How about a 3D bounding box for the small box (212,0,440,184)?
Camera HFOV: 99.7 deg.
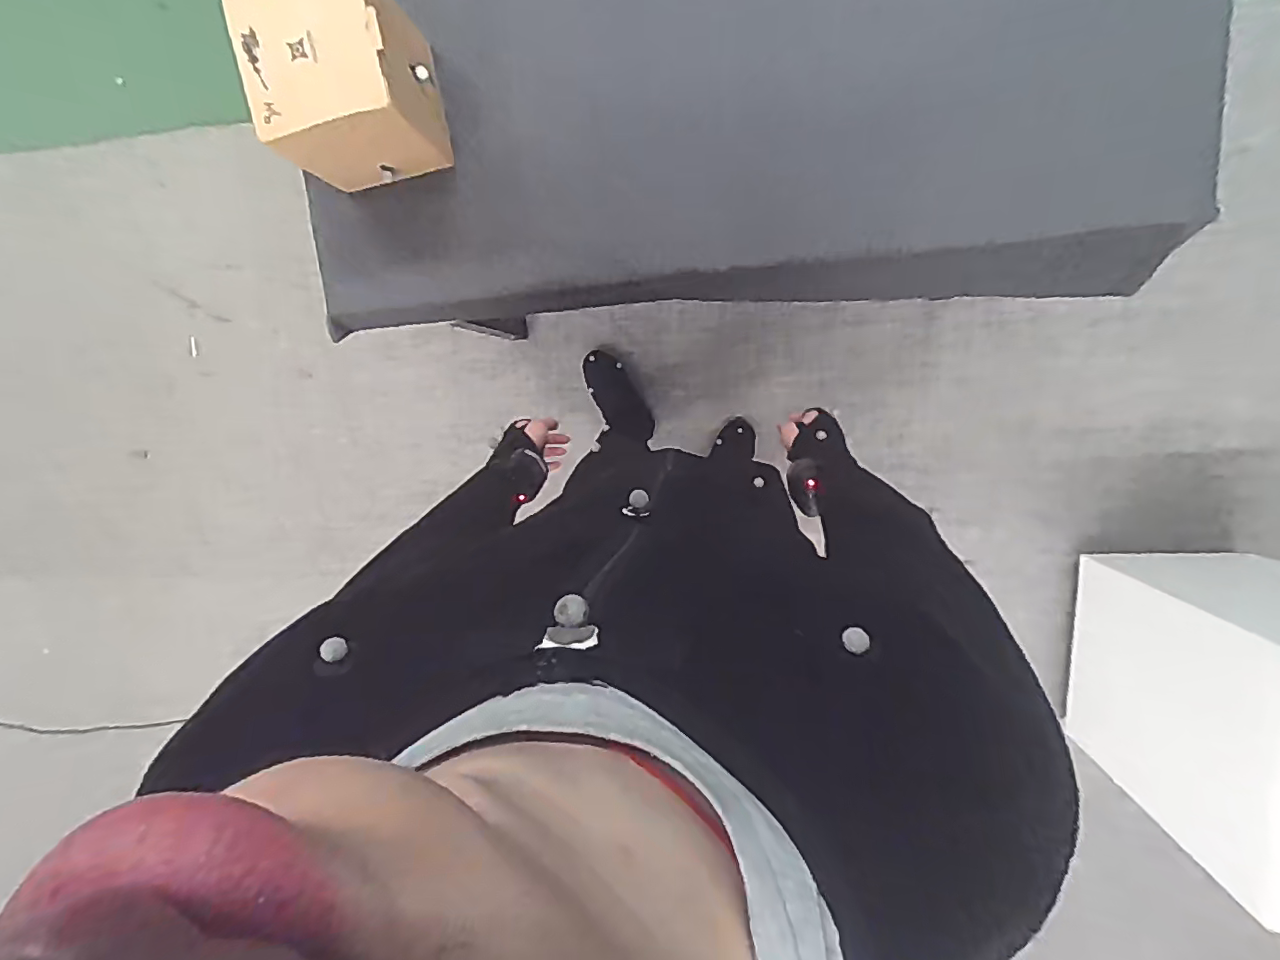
[{"bbox_3d":[-0.374,-0.503,0.682,0.179,0.176,0.168,-10,99,7],"label":"small box"}]
